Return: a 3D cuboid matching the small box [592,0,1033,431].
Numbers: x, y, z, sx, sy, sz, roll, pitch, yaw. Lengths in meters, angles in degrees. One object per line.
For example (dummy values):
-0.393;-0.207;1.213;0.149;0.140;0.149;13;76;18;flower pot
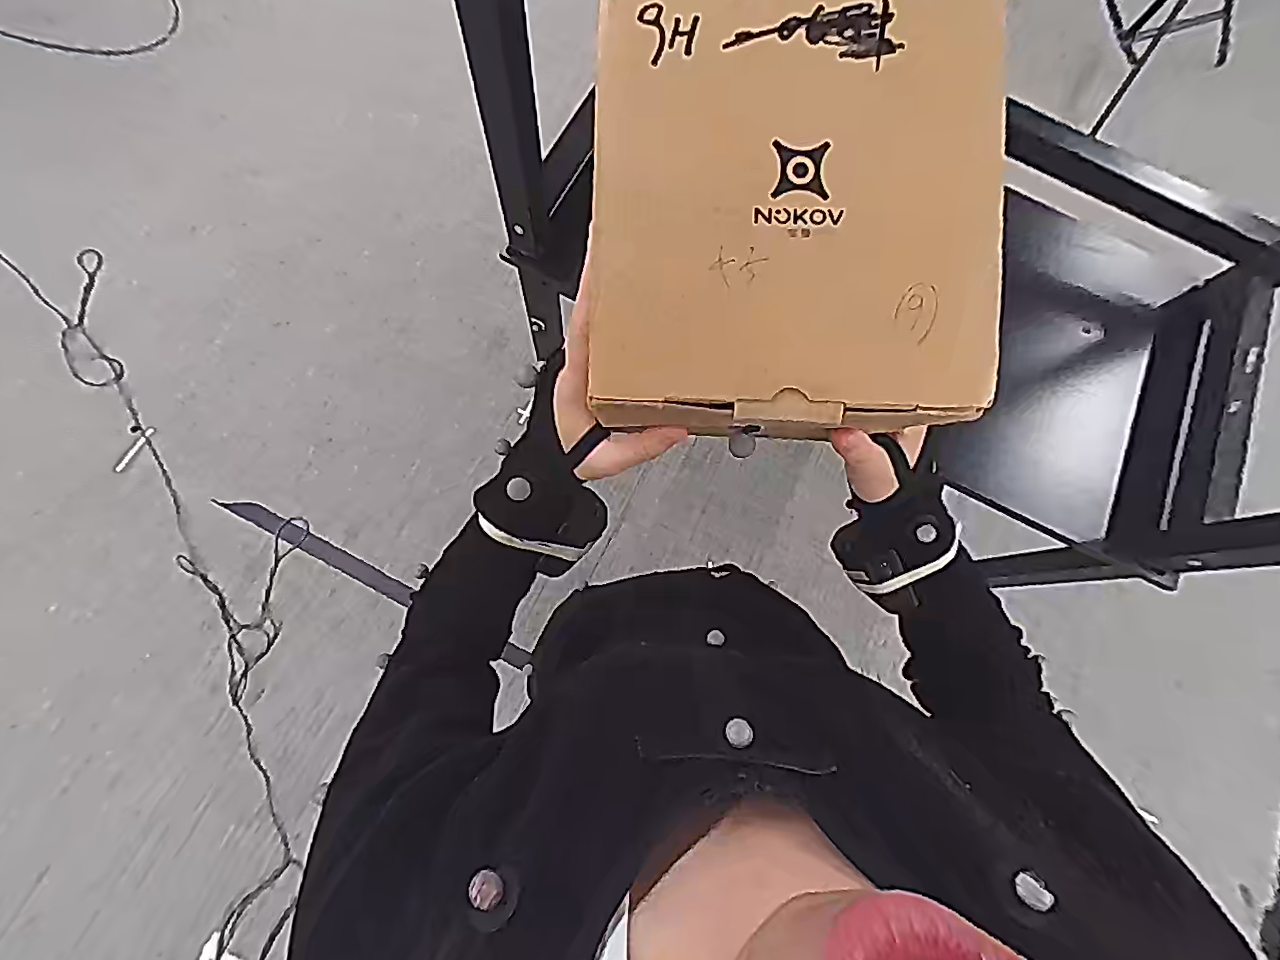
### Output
0.064;-0.118;0.289;0.168;0.176;0.179;1;92;-2;small box
